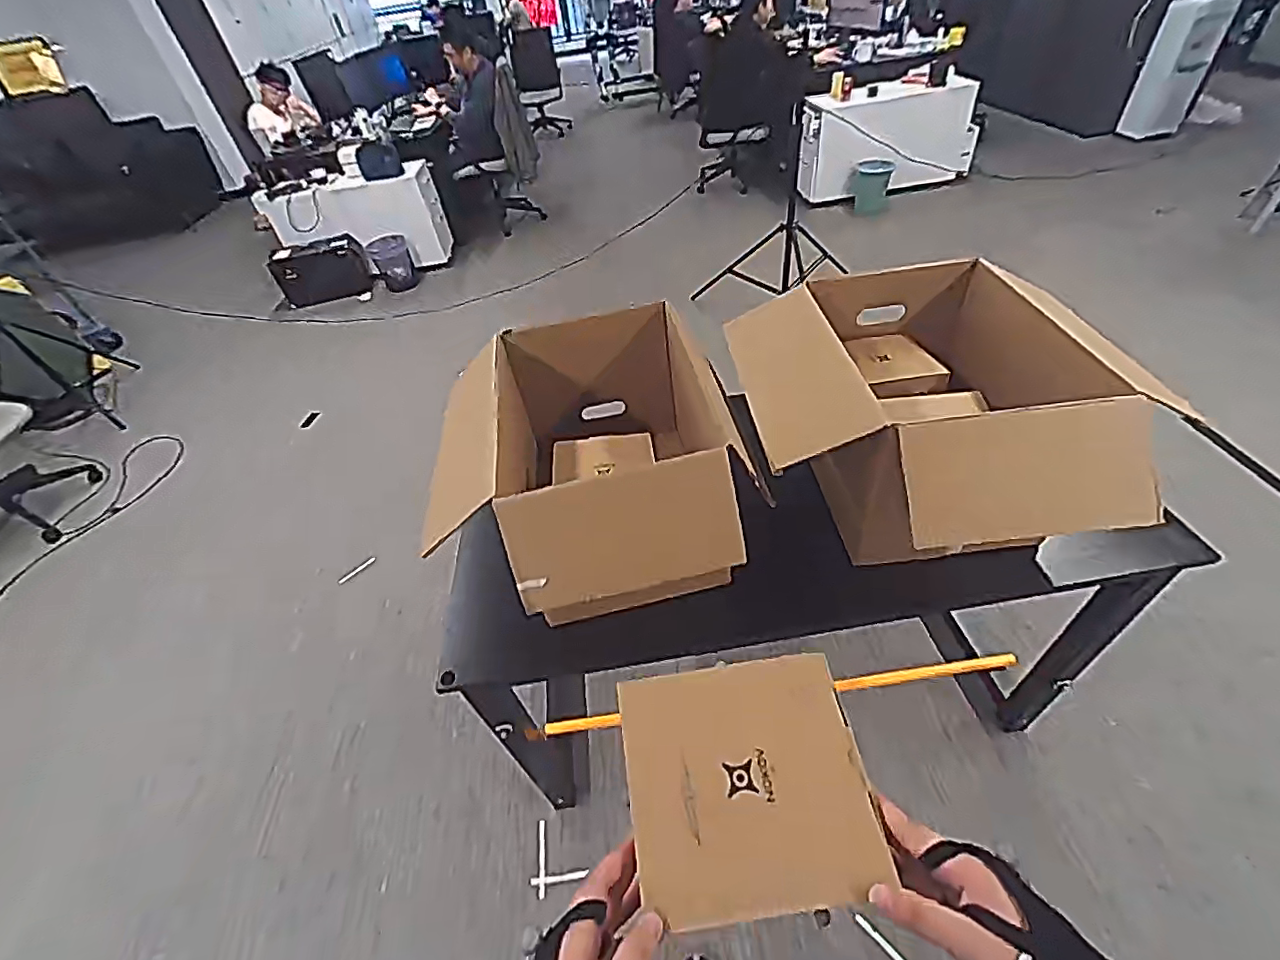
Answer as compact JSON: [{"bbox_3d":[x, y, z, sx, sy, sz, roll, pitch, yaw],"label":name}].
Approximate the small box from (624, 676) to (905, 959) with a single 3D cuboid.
[{"bbox_3d":[0.088,0.286,0.468,0.179,0.176,0.168,-10,54,-1],"label":"small box"}]
